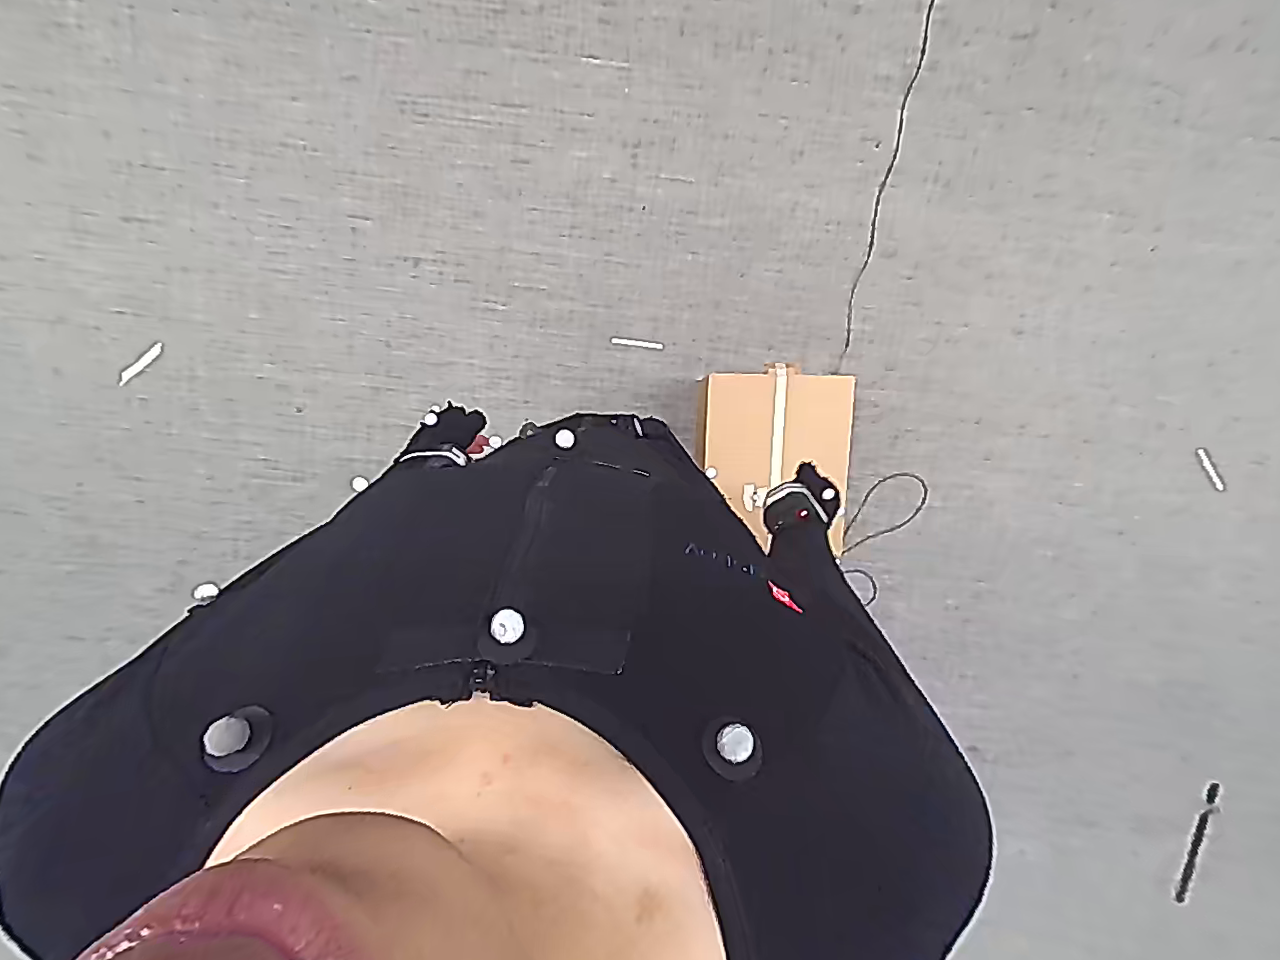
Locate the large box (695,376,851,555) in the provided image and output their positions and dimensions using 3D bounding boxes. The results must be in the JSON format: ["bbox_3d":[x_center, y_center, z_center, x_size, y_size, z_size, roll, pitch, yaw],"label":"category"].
[{"bbox_3d":[0.305,-0.051,1.346,0.320,0.320,0.408,1,99,2],"label":"large box"}]
